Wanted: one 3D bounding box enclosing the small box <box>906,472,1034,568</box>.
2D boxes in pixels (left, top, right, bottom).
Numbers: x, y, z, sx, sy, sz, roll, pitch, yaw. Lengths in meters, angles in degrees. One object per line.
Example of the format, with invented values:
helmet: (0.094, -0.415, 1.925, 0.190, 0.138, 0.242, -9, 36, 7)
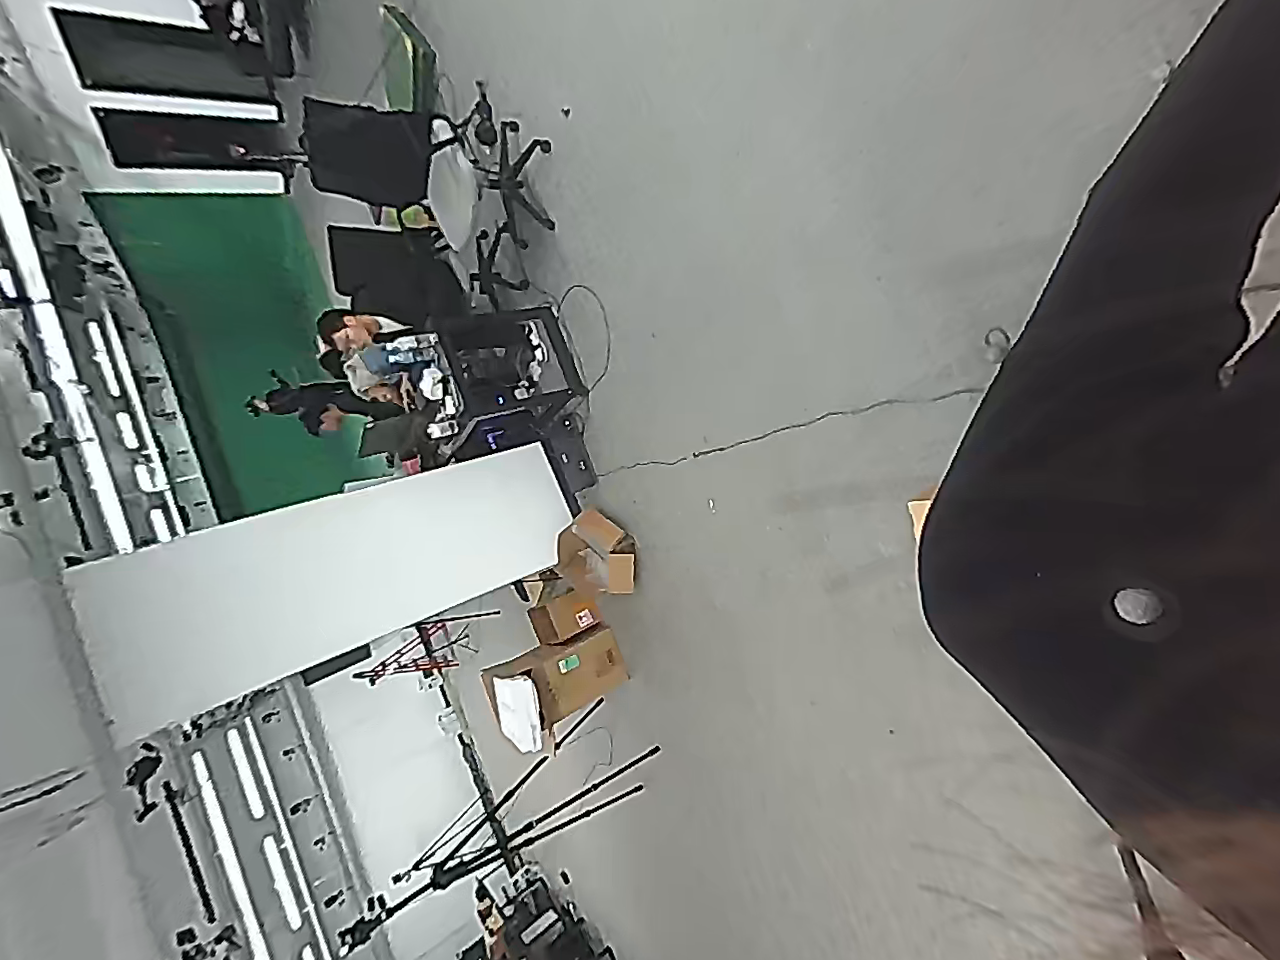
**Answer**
small box: (0.747, 0.089, 1.227, 0.179, 0.176, 0.168, -10, 99, 58)
